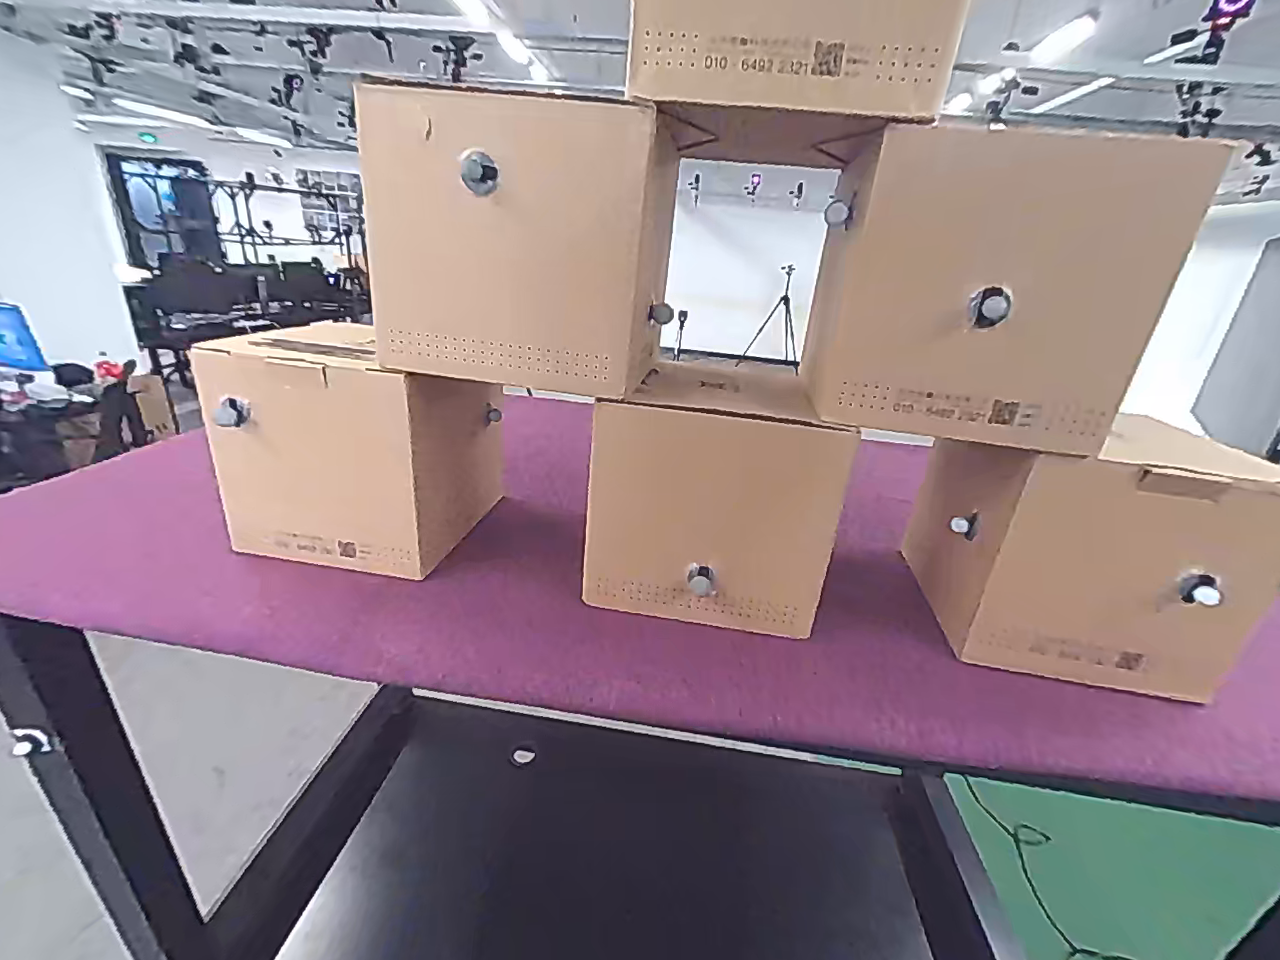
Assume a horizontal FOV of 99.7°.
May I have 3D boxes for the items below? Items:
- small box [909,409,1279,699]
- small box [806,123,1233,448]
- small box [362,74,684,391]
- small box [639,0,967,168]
[{"bbox_3d":[0.335,0.039,0.426,0.168,0.176,0.179,9,22,9],"label":"small box"},{"bbox_3d":[0.220,-0.131,0.379,0.168,0.176,0.179,9,23,8],"label":"small box"},{"bbox_3d":[-0.070,-0.168,0.400,0.179,0.176,0.168,9,23,6],"label":"small box"},{"bbox_3d":[0.094,-0.299,0.330,0.168,0.176,0.179,7,22,6],"label":"small box"}]
